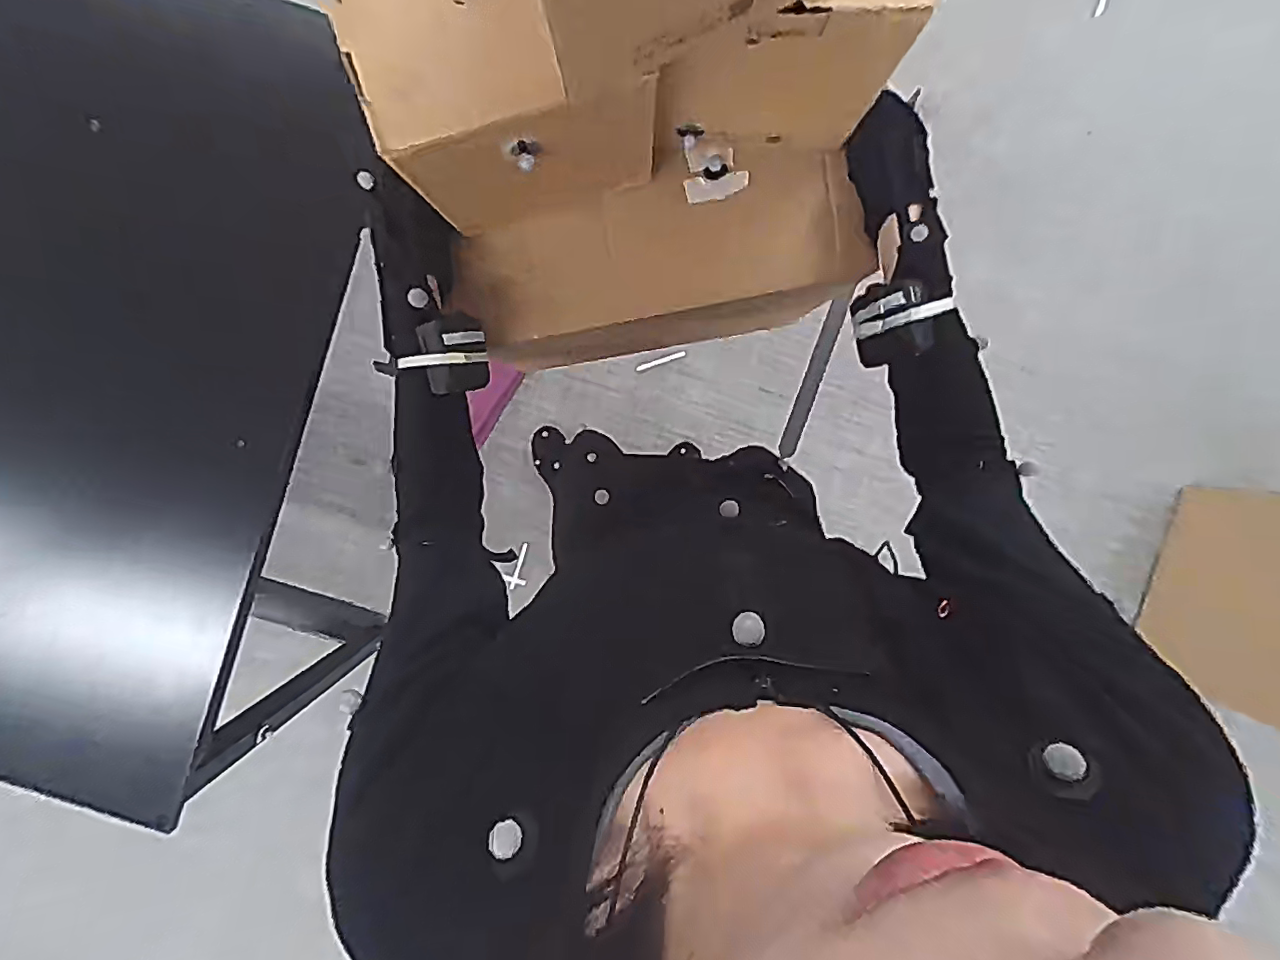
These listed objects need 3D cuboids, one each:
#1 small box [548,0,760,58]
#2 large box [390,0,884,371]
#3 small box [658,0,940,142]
[{"bbox_3d":[0.010,-0.323,0.221,0.168,0.176,0.179,-22,97,4],"label":"small box"},{"bbox_3d":[0.001,-0.328,0.630,0.408,0.320,0.320,-11,98,1],"label":"large box"},{"bbox_3d":[0.099,-0.368,0.378,0.168,0.176,0.179,3,96,1],"label":"small box"}]
